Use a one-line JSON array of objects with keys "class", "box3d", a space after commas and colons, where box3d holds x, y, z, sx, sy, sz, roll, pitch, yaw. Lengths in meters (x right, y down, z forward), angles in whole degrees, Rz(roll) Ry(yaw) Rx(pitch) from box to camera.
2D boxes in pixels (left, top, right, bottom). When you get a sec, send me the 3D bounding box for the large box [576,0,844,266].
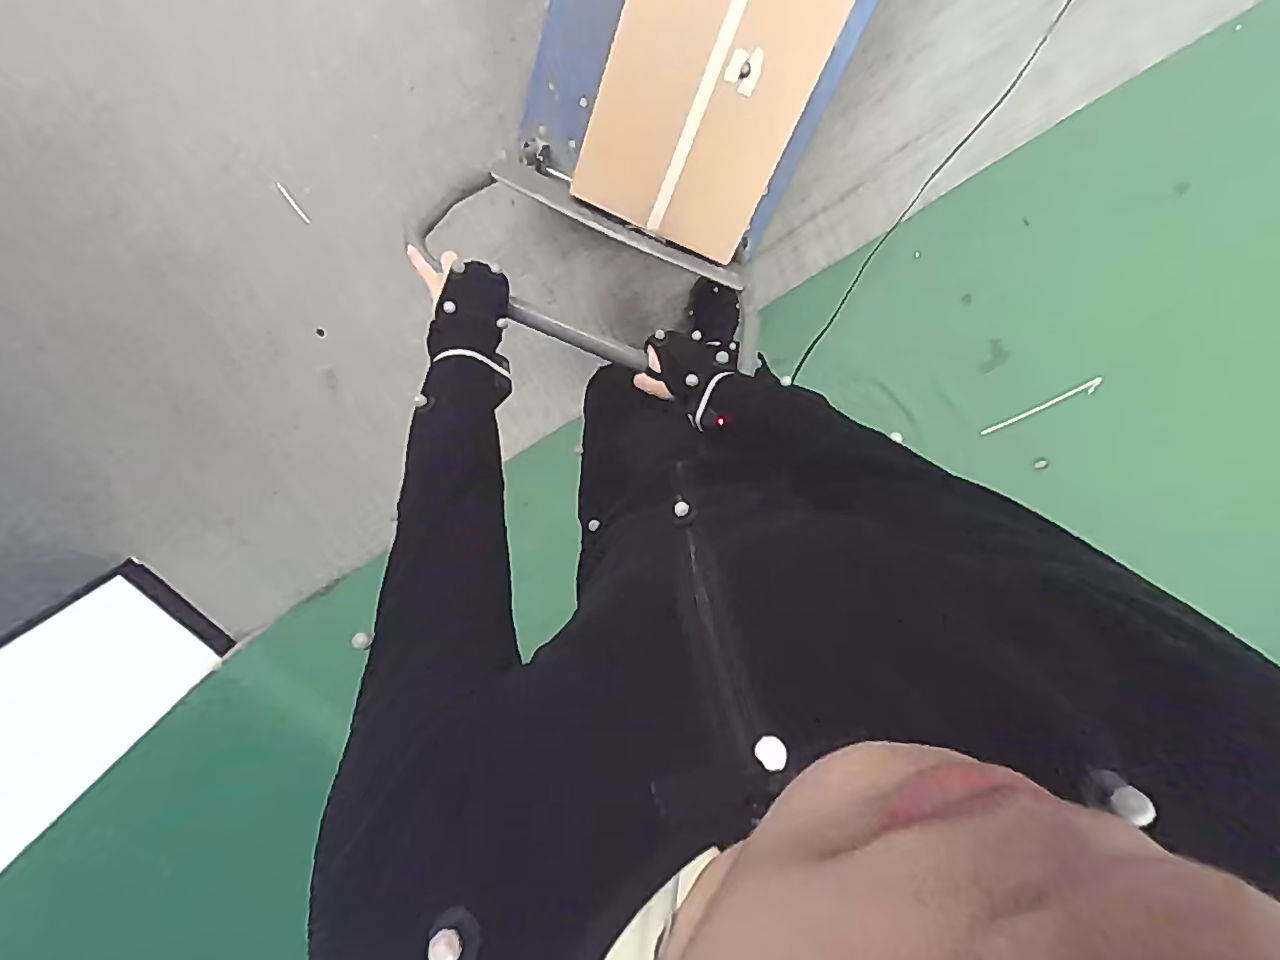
[{"class": "large box", "box3d": [0.107, -0.681, 1.013, 0.320, 0.320, 0.408, 21, 122, -9]}]
